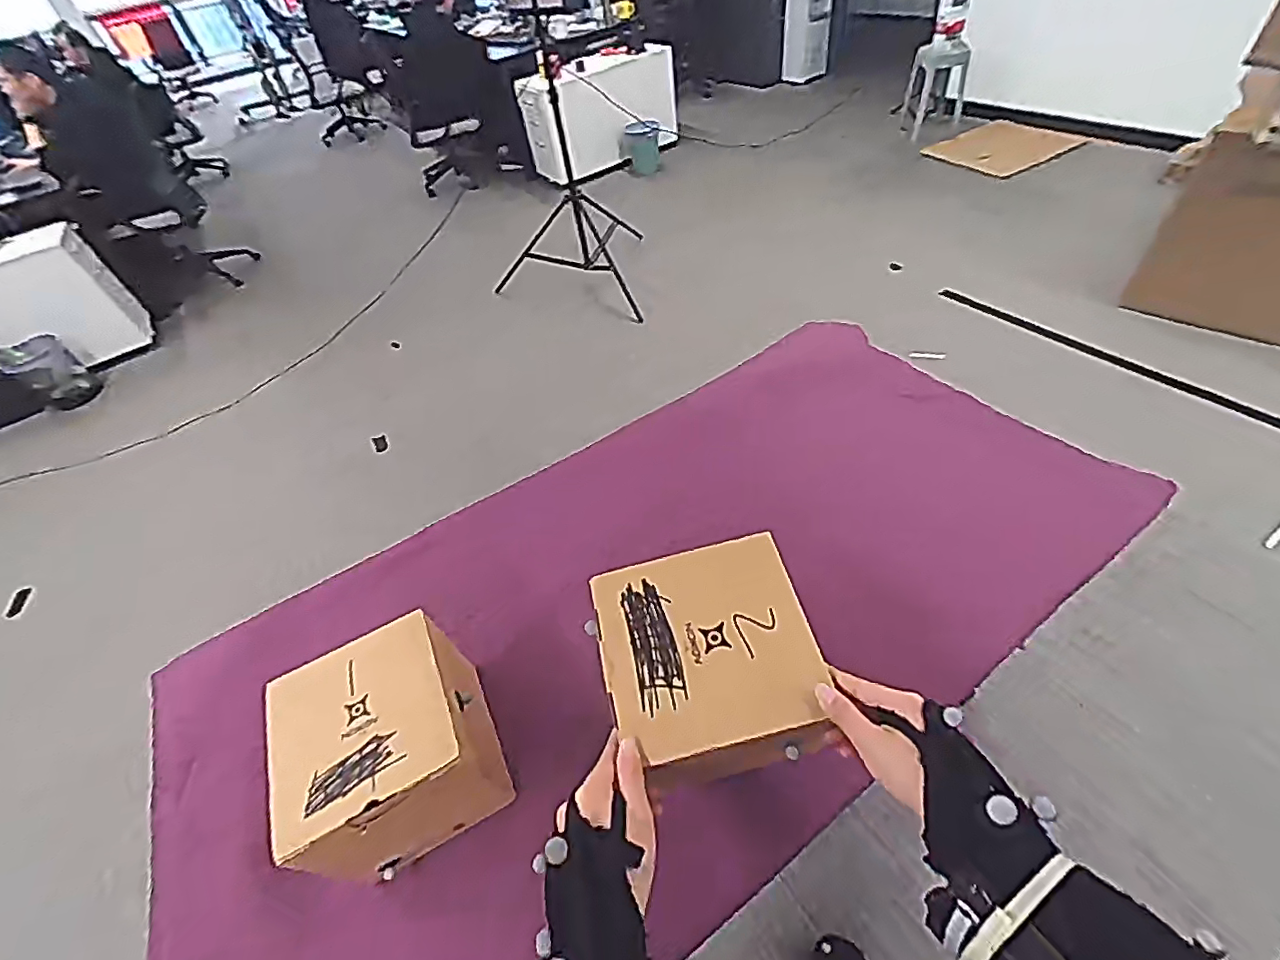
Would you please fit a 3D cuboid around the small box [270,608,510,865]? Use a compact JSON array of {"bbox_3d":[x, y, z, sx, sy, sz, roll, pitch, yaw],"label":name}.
[{"bbox_3d":[-0.258,0.278,0.579,0.168,0.176,0.179,-26,49,-13],"label":"small box"}]
